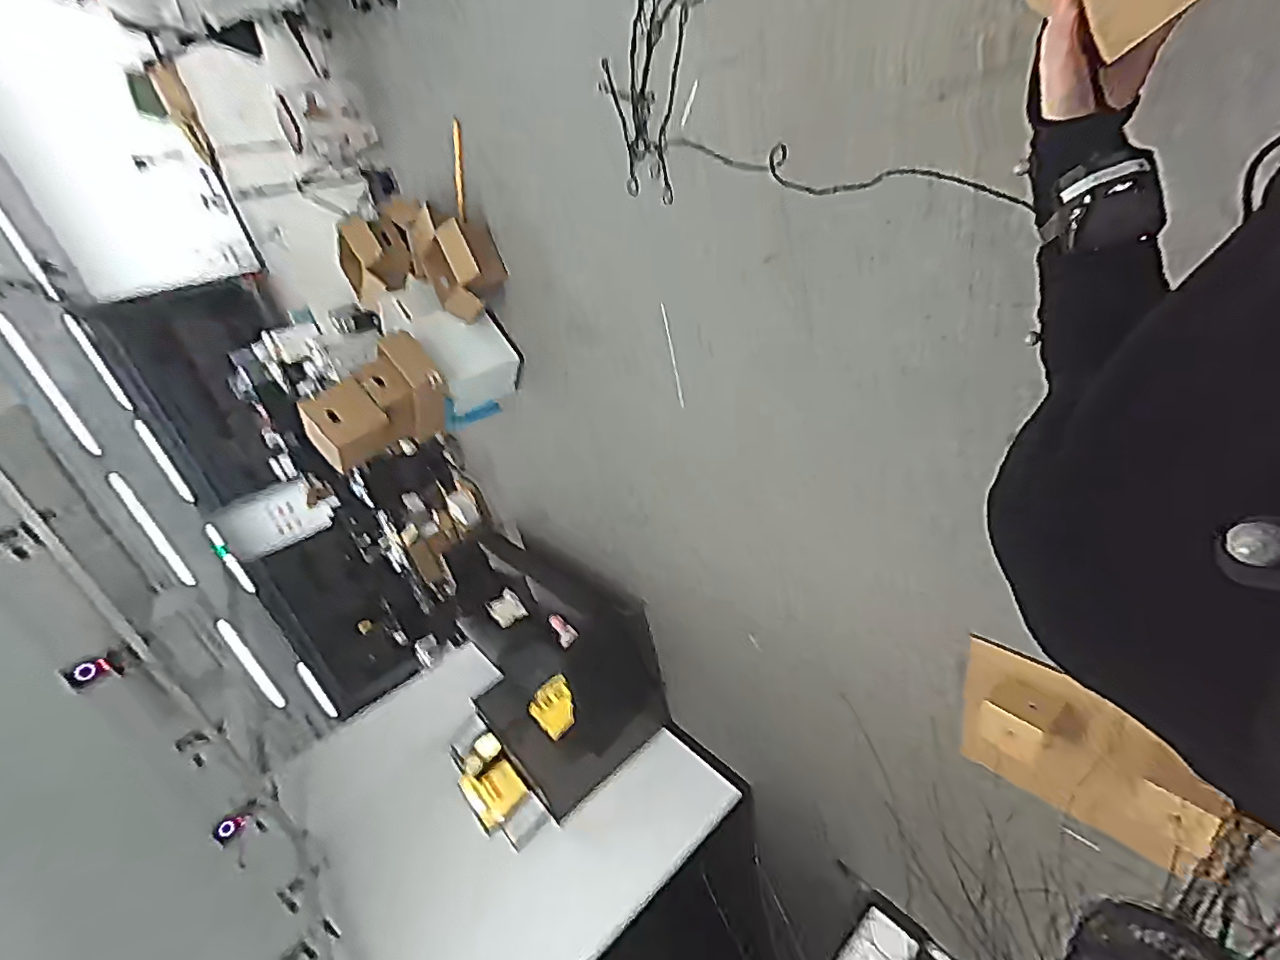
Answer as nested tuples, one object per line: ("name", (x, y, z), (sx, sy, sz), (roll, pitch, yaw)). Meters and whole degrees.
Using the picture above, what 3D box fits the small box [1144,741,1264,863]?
("small box", (1.461, 0.823, 1.400), (0.168, 0.176, 0.179), (26, 136, 46))

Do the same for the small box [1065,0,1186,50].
("small box", (0.318, -0.392, 0.279), (0.168, 0.179, 0.176), (43, 114, -3))

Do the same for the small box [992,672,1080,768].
("small box", (1.228, 0.736, 1.675), (0.168, 0.176, 0.179), (25, 136, 47))
